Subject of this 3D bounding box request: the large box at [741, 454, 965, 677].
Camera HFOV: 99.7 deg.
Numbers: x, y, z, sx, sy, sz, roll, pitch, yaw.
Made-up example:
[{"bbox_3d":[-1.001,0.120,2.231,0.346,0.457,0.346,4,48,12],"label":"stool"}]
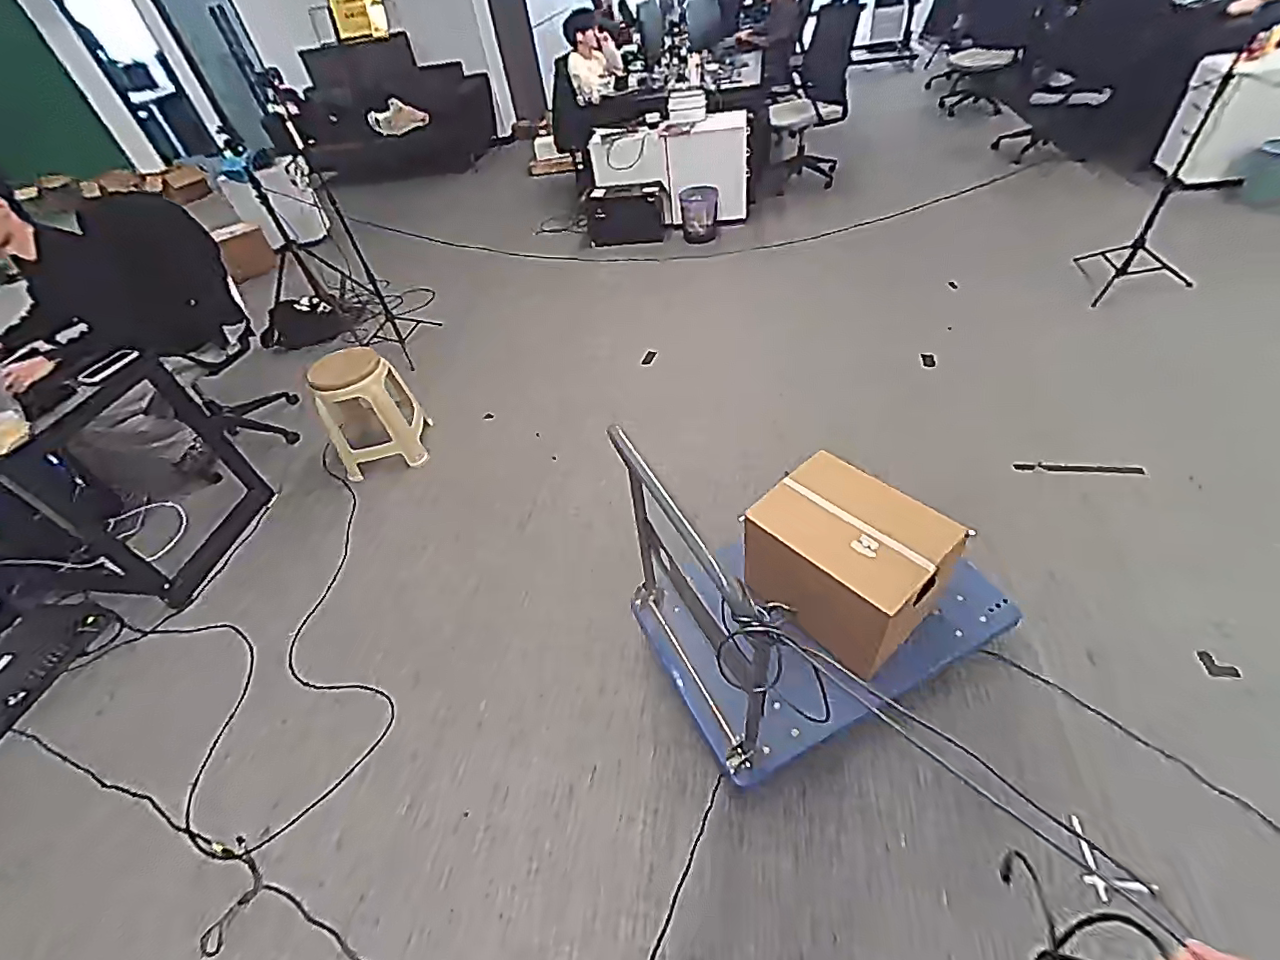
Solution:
[{"bbox_3d":[0.508,0.206,1.376,0.320,0.320,0.408,-36,51,-22],"label":"large box"}]
